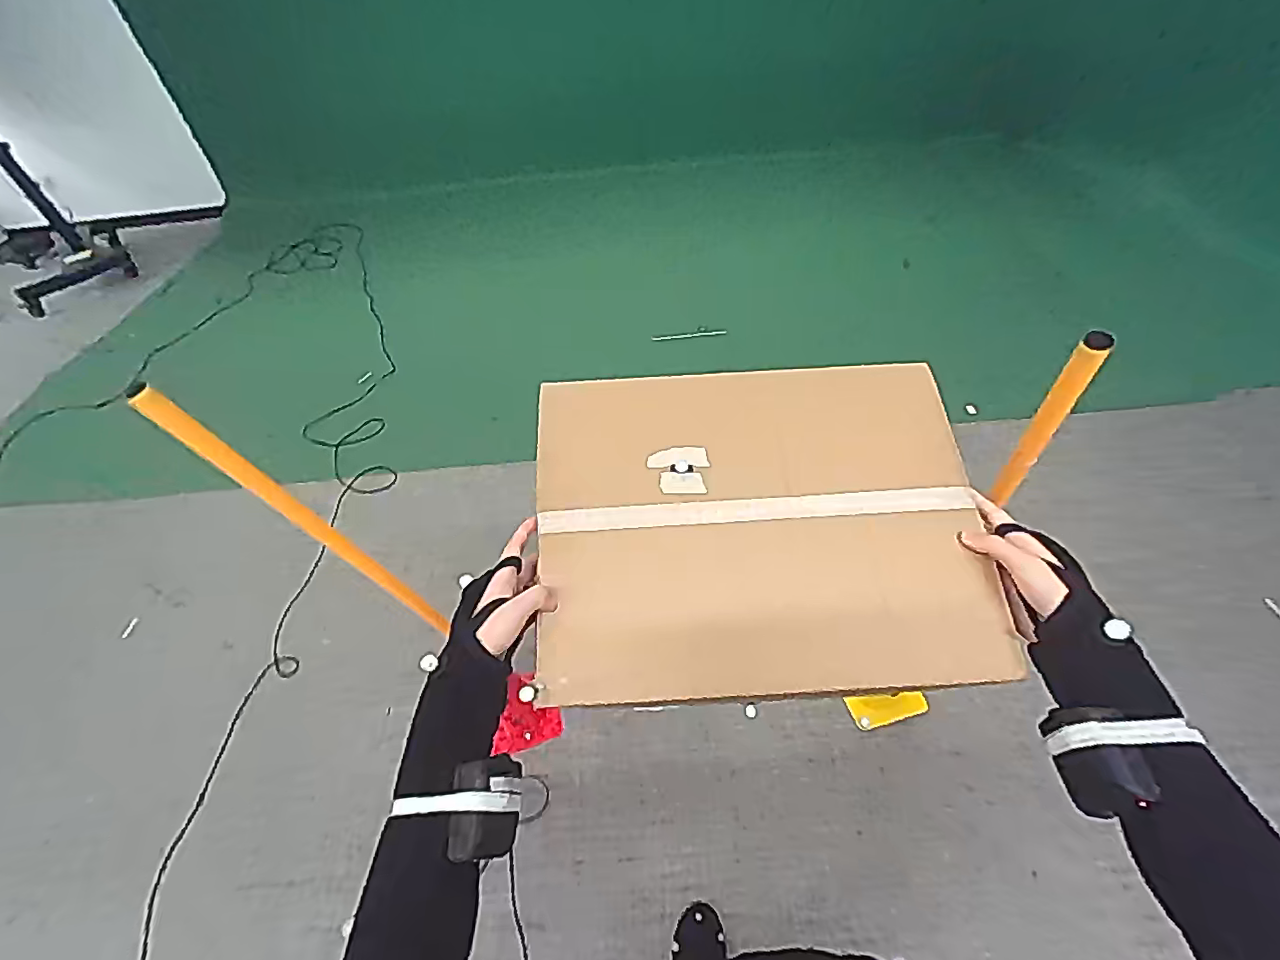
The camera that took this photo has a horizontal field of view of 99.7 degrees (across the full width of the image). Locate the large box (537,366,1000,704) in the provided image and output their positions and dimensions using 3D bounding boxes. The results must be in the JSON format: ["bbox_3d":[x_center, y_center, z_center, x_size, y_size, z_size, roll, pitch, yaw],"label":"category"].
[{"bbox_3d":[0.108,0.092,0.653,0.408,0.320,0.320,-4,66,1],"label":"large box"}]
